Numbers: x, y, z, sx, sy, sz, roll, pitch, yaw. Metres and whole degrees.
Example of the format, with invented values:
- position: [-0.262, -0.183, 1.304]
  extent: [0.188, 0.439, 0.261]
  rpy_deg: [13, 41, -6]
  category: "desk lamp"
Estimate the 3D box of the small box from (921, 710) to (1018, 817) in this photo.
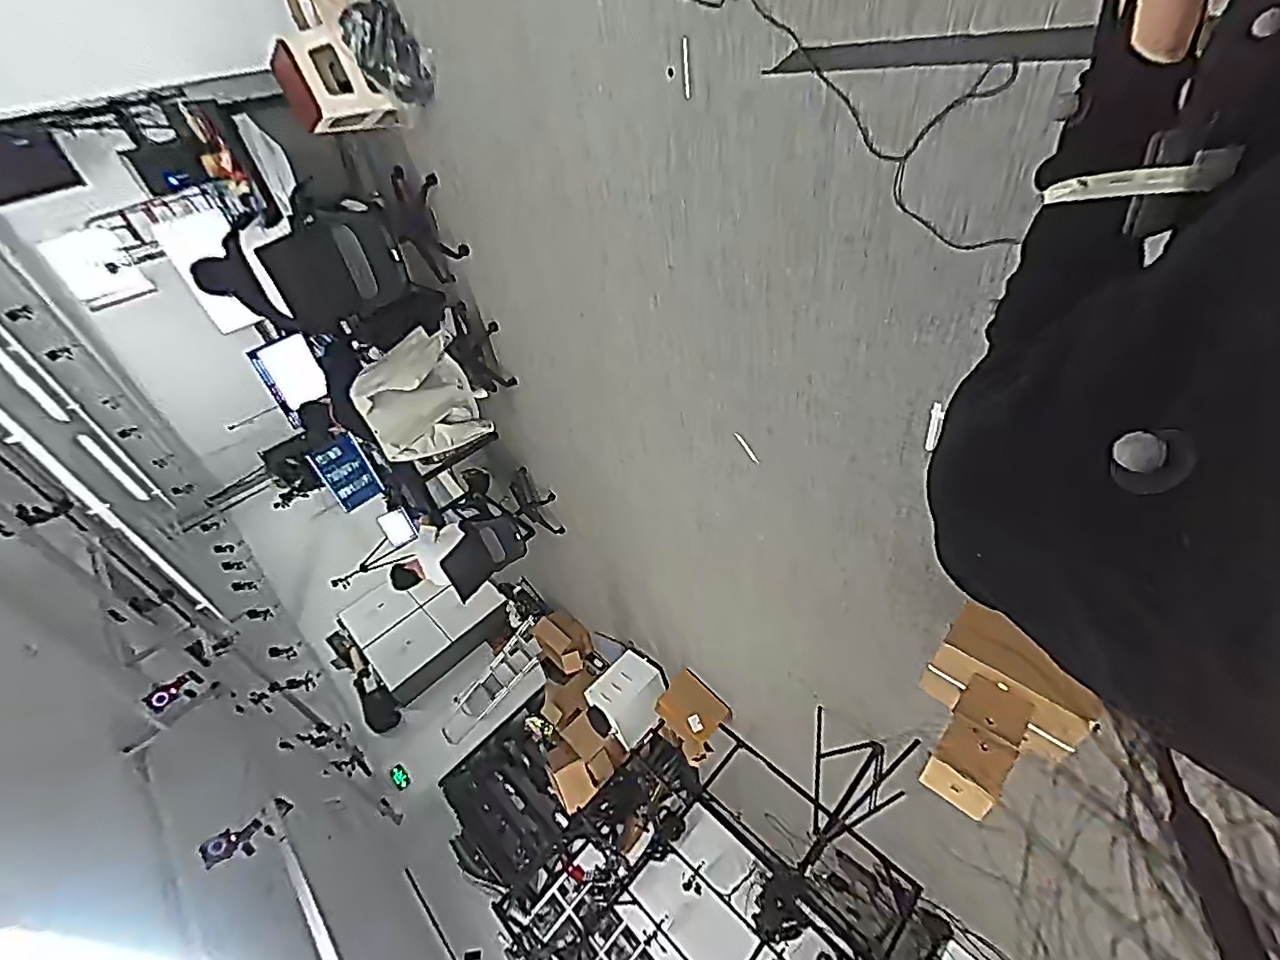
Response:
- position: [0.928, 0.793, 1.522]
  extent: [0.168, 0.176, 0.179]
  rpy_deg: [29, 142, 36]
  category: "small box"

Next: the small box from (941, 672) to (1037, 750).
- position: [1.039, 0.711, 1.608]
  extent: [0.179, 0.176, 0.168]
  rpy_deg: [29, 143, 38]
  category: "small box"
